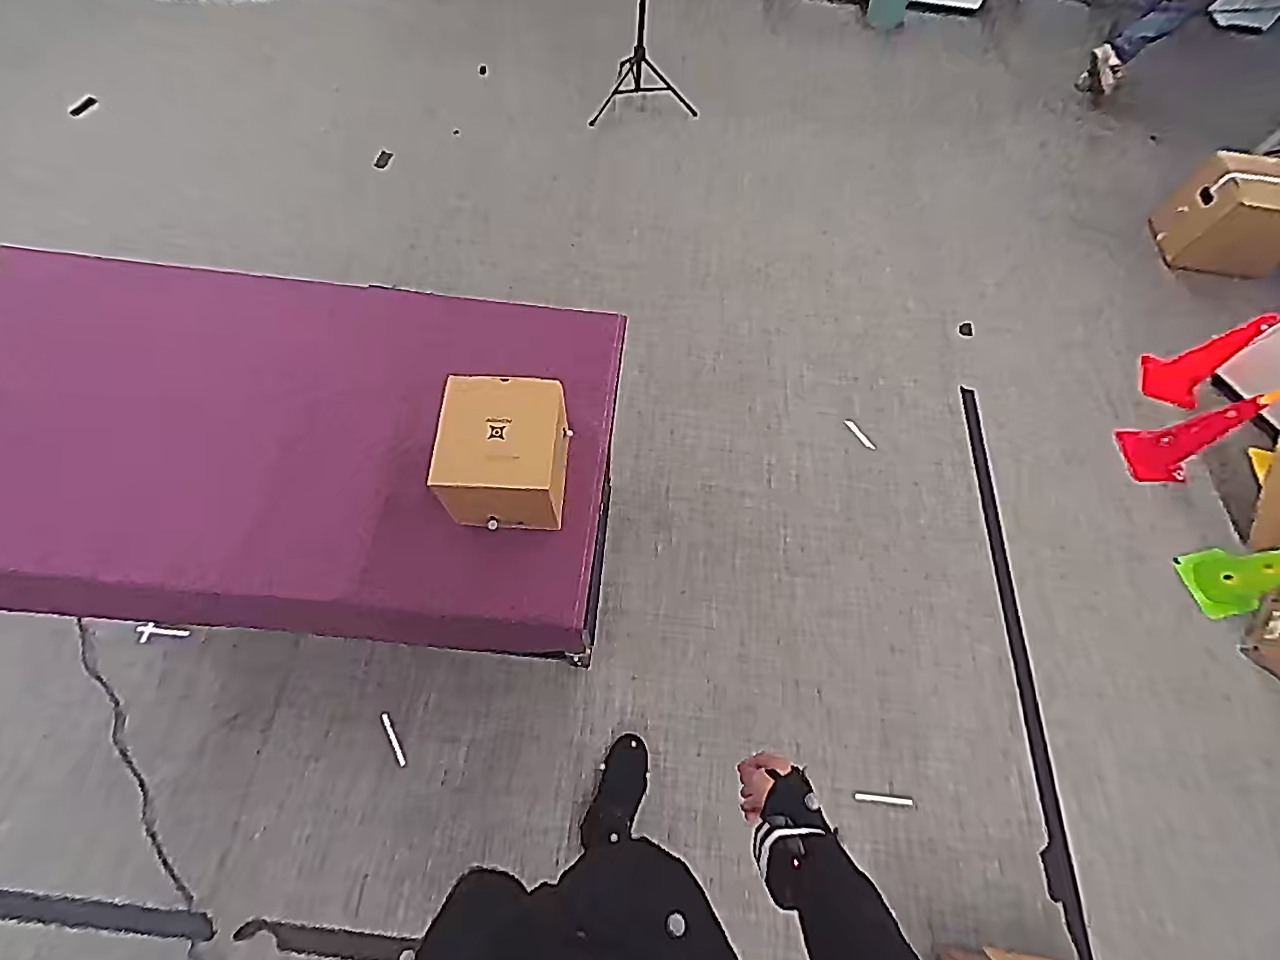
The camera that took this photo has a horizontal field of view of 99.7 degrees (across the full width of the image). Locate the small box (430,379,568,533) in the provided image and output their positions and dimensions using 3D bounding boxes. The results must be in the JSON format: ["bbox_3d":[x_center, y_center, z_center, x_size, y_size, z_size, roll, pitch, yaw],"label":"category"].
[{"bbox_3d":[-0.203,-0.032,0.834,0.168,0.176,0.179,3,65,-2],"label":"small box"}]
